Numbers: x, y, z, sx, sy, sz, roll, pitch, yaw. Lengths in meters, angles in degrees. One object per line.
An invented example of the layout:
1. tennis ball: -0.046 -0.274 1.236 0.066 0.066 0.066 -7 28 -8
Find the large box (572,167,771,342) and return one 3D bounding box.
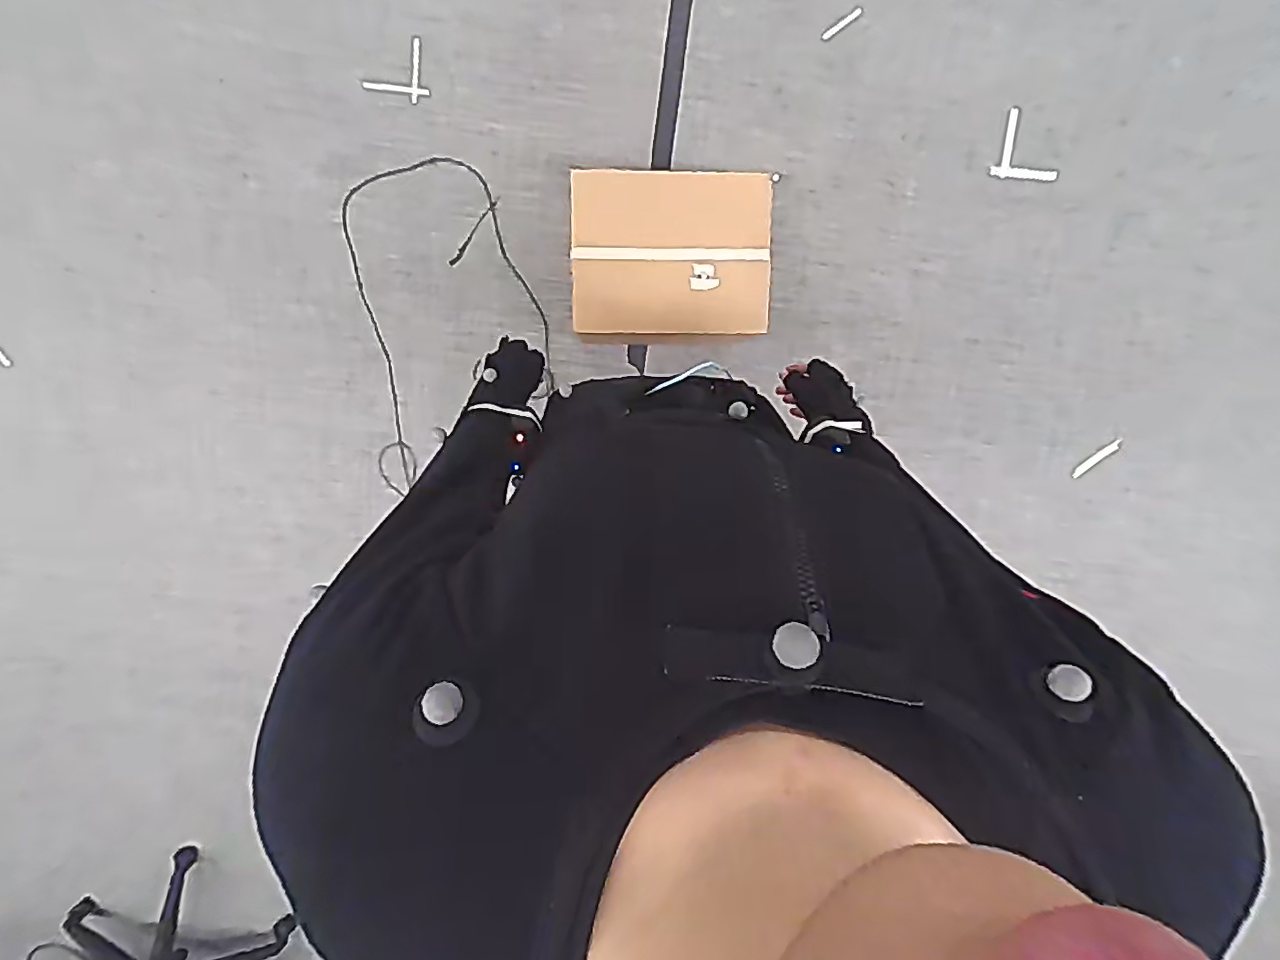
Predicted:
1. large box: 0.057 -0.492 1.248 0.408 0.320 0.320 0 100 -3
